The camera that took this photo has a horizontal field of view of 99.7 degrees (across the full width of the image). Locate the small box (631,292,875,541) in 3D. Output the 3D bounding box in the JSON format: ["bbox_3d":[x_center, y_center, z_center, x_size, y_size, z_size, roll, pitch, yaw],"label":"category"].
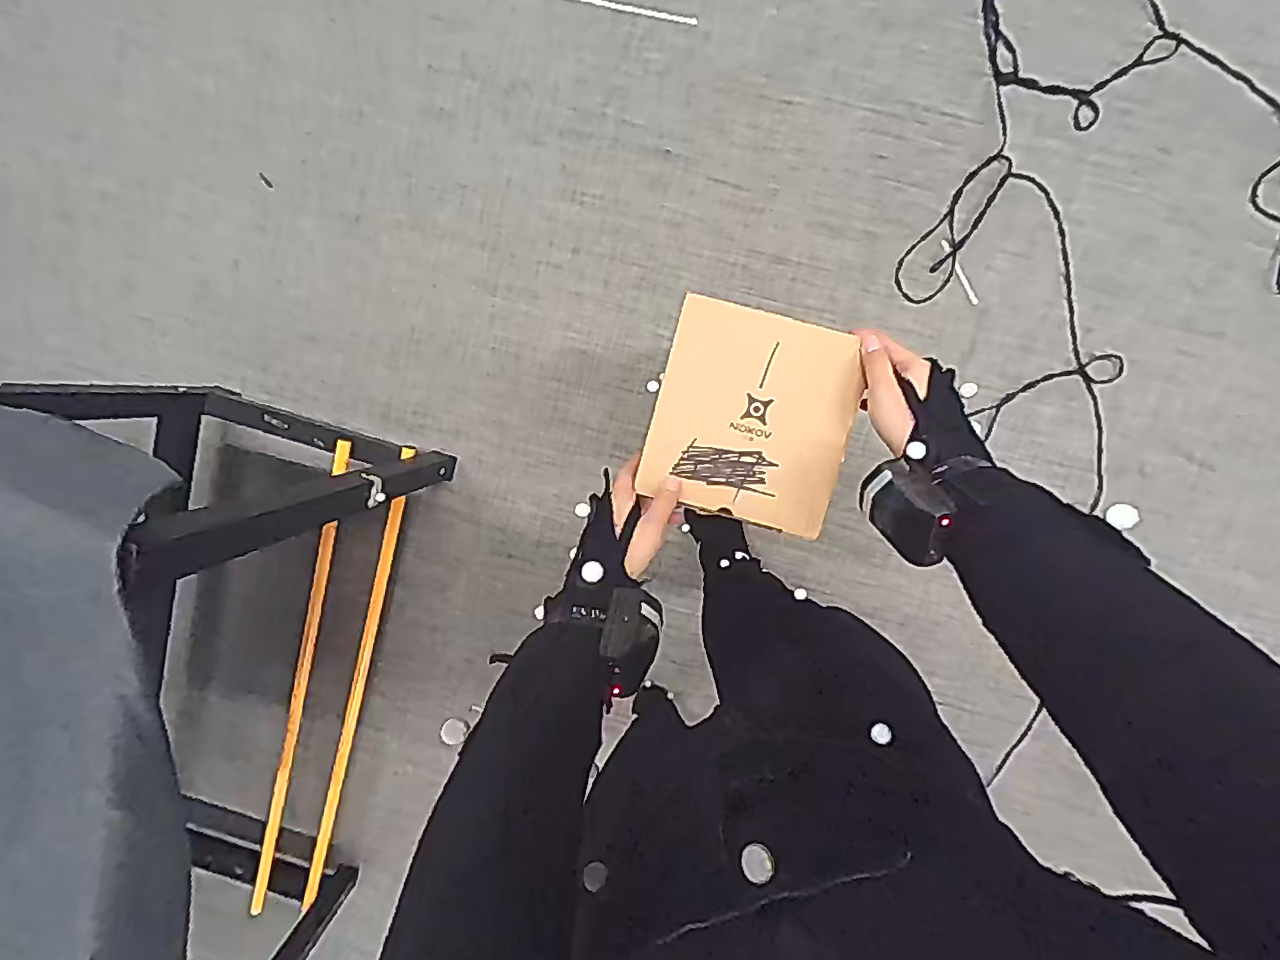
[{"bbox_3d":[0.098,-0.060,0.534,0.168,0.176,0.179,16,96,1],"label":"small box"}]
